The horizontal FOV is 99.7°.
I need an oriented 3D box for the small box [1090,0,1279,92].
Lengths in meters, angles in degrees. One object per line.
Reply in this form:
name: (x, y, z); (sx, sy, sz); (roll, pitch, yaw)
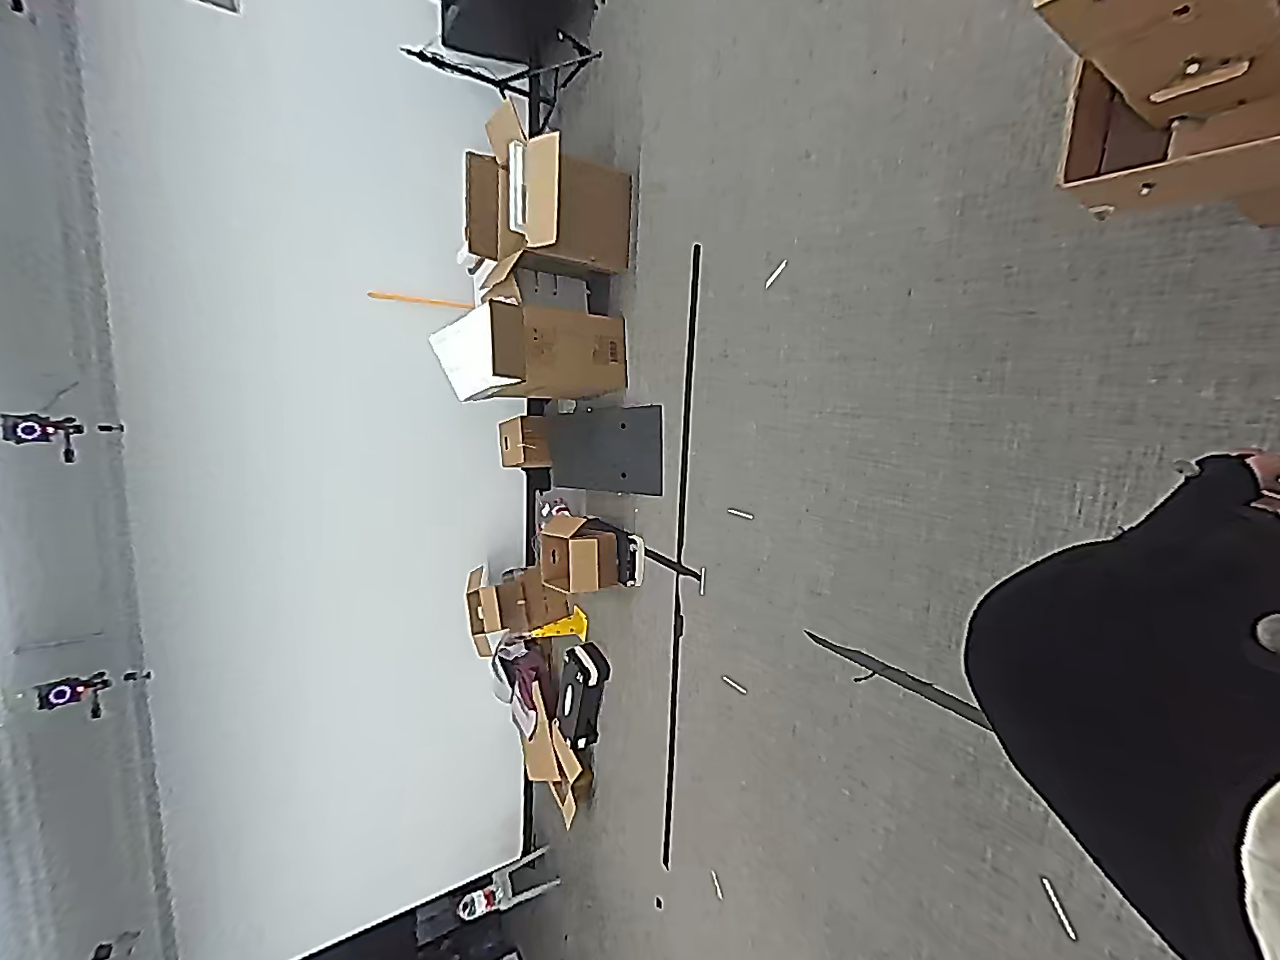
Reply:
small box: (0.728, -0.656, 0.703); (0.168, 0.176, 0.179); (13, 104, 56)

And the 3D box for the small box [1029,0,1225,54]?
small box: (0.585, -0.649, 0.619); (0.168, 0.176, 0.179); (14, 103, 57)
